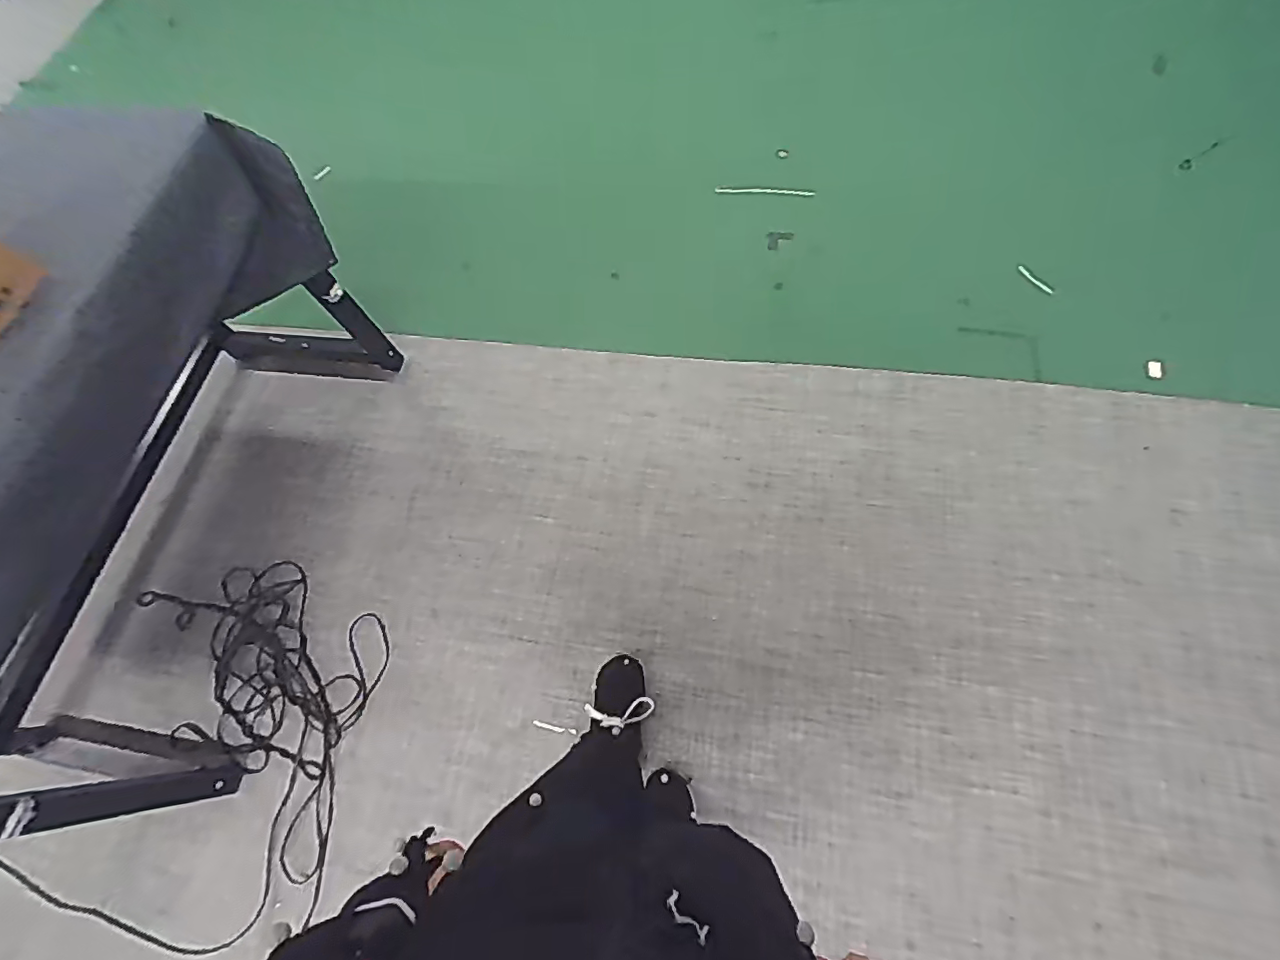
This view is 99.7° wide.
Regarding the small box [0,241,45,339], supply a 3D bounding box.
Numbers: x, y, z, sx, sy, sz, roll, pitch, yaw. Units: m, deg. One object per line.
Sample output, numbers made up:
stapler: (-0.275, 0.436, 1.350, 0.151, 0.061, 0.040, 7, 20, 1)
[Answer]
small box: (-1.031, -0.292, 0.758, 0.179, 0.176, 0.168, 7, 70, 9)
